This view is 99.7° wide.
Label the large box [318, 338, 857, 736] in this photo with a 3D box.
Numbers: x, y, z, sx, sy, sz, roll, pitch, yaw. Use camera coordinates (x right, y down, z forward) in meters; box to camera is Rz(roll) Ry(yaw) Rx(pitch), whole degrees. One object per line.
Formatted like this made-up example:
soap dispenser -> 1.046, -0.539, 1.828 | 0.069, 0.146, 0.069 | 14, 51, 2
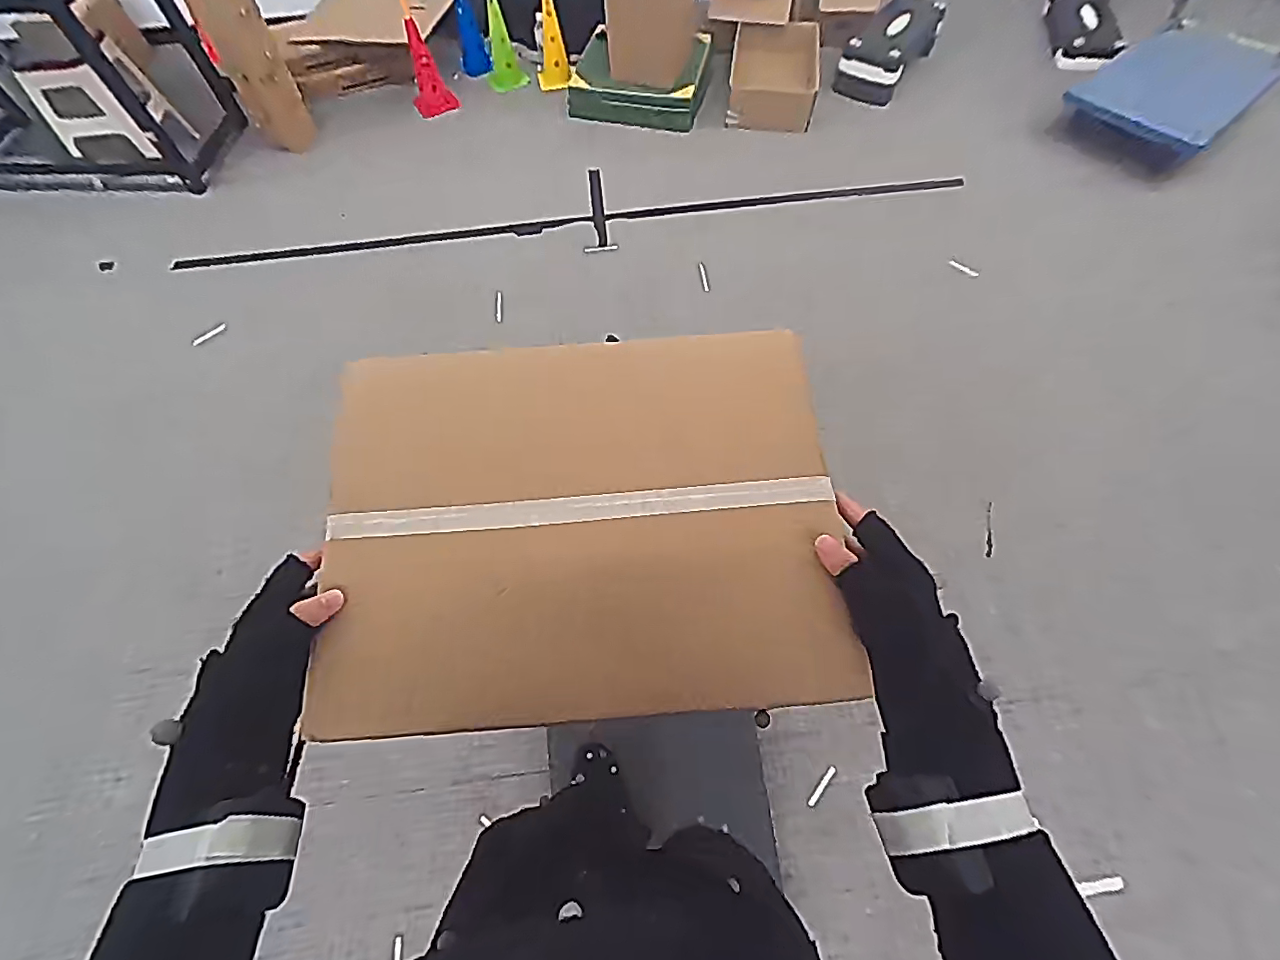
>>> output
large box -> -0.044, 0.077, 0.583 | 0.408, 0.320, 0.320 | -4, 69, -1
